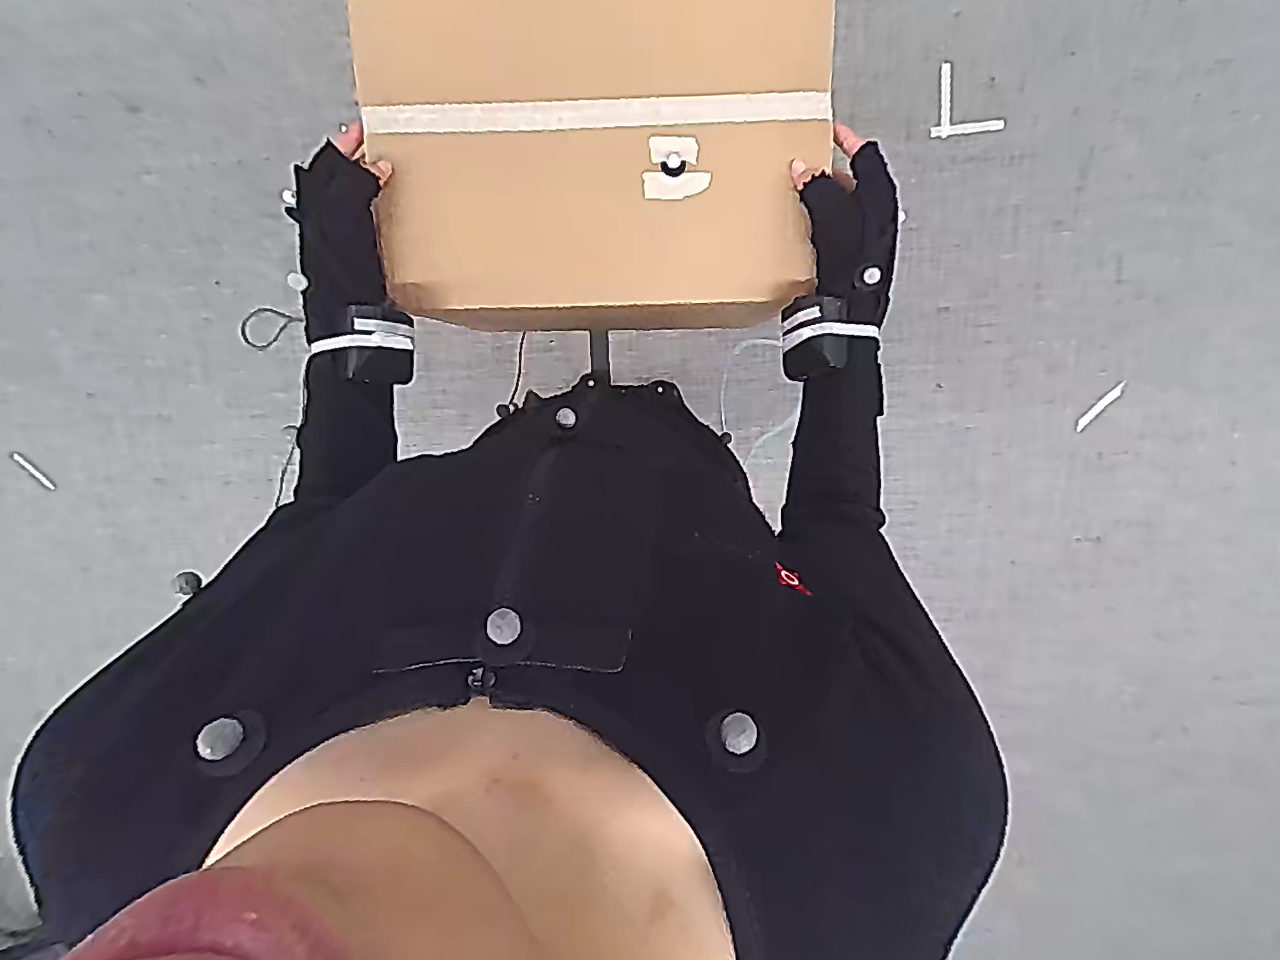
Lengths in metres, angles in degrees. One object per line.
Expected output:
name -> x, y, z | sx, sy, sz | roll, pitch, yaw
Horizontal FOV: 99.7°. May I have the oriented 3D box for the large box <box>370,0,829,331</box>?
large box -> -0.034, -0.350, 0.627 | 0.408, 0.320, 0.320 | -1, 101, 0
